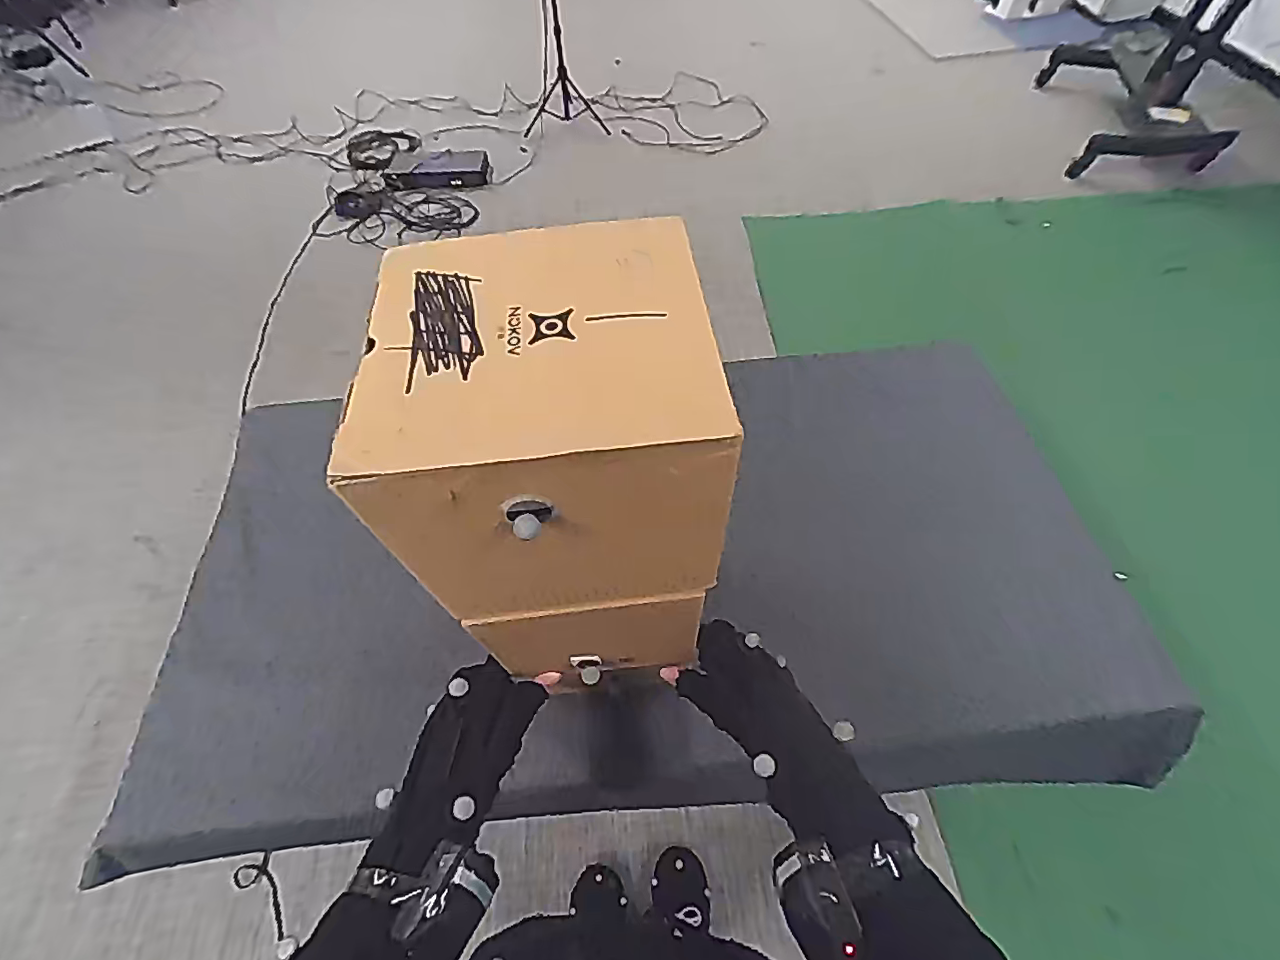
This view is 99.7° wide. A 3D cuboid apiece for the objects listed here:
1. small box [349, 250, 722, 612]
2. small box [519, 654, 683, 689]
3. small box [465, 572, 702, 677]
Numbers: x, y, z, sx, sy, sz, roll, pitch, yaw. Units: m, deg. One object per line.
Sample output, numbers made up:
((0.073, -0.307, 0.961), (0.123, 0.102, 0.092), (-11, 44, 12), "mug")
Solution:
((-0.051, -0.021, 0.355), (0.179, 0.176, 0.168), (-6, 57, -2), "small box")
((-0.043, 0.133, 0.625), (0.179, 0.176, 0.168), (-6, 56, -3), "small box")
((-0.045, 0.058, 0.480), (0.168, 0.176, 0.179), (-7, 58, -2), "small box")
